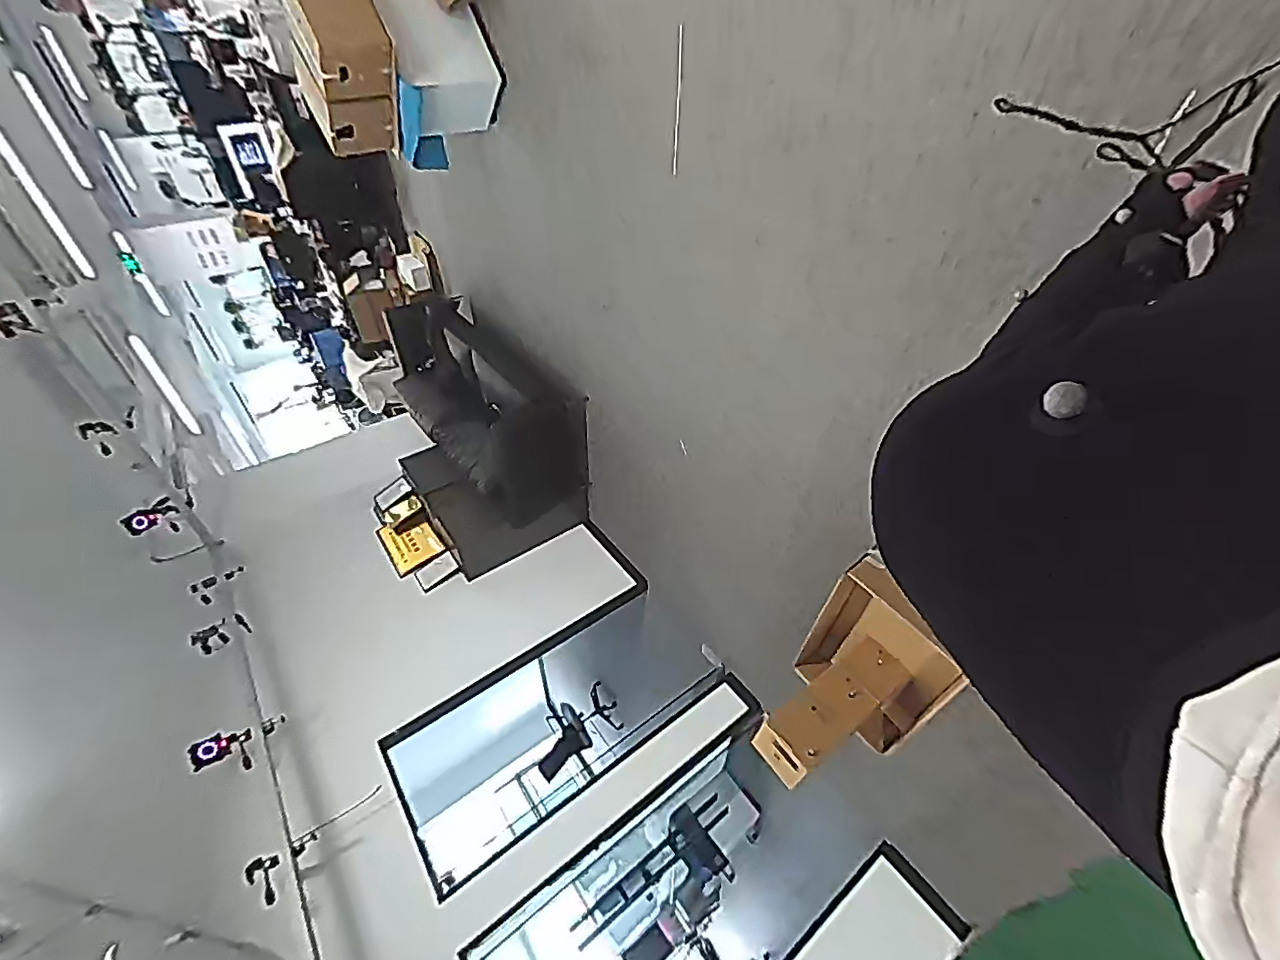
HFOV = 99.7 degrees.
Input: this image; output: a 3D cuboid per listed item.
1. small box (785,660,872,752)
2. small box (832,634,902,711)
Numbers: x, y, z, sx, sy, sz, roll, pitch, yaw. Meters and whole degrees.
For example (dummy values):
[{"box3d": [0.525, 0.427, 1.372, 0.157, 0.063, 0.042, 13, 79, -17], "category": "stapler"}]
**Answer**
[{"box3d": [0.586, 0.698, 1.677, 0.168, 0.176, 0.179, 45, 145, 33], "category": "small box"}, {"box3d": [0.714, 0.638, 1.756, 0.168, 0.176, 0.179, 44, 145, 32], "category": "small box"}]
